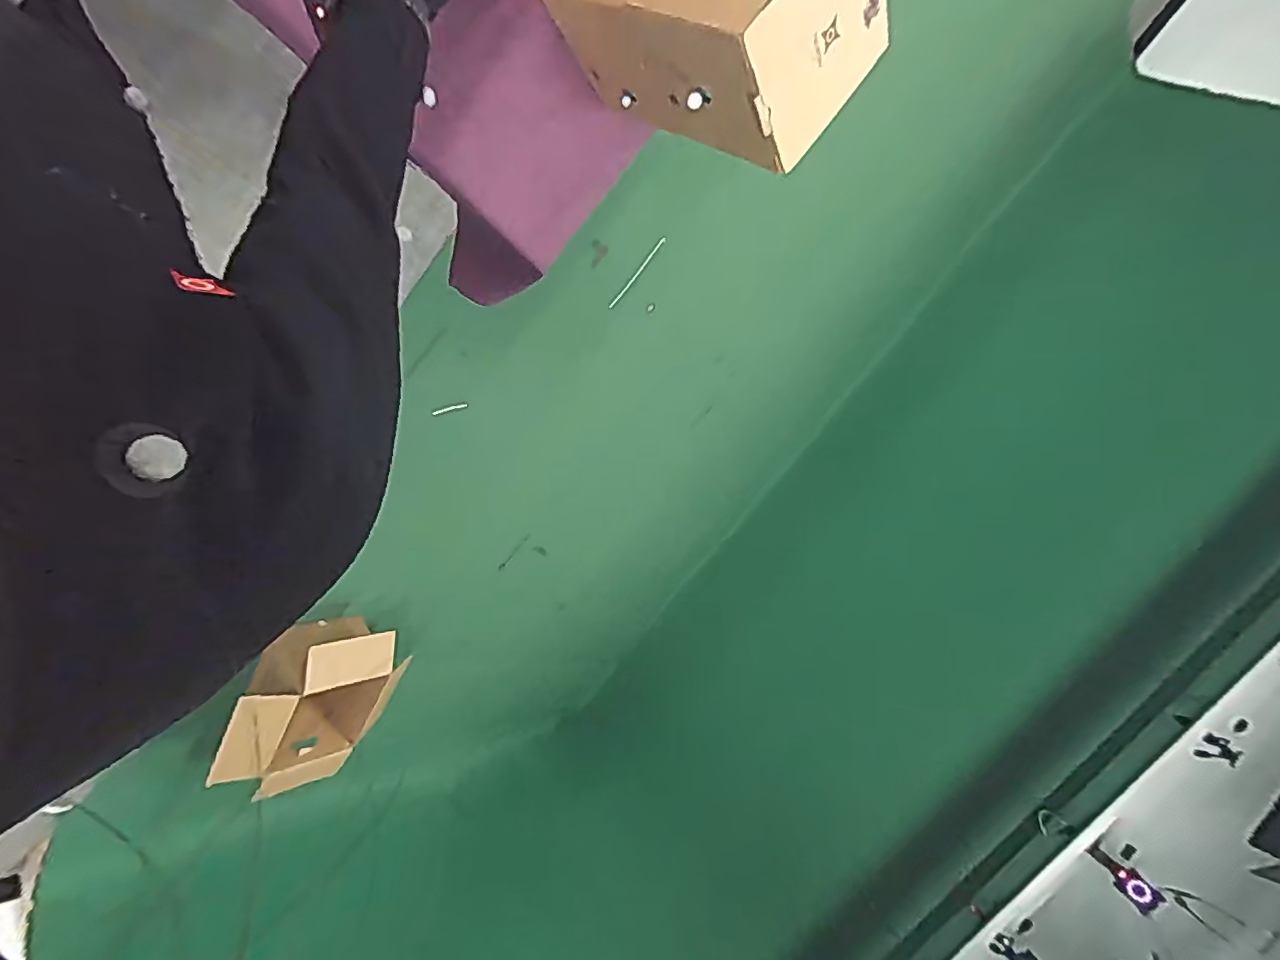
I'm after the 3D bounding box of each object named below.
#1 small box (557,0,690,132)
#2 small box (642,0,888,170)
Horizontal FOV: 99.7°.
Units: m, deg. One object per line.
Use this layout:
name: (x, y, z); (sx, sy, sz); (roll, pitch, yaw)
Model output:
small box: (0.024, -0.570, 0.646); (0.179, 0.176, 0.168); (-50, 150, 5)
small box: (0.124, -0.474, 0.559); (0.179, 0.176, 0.168); (-49, 151, 6)
